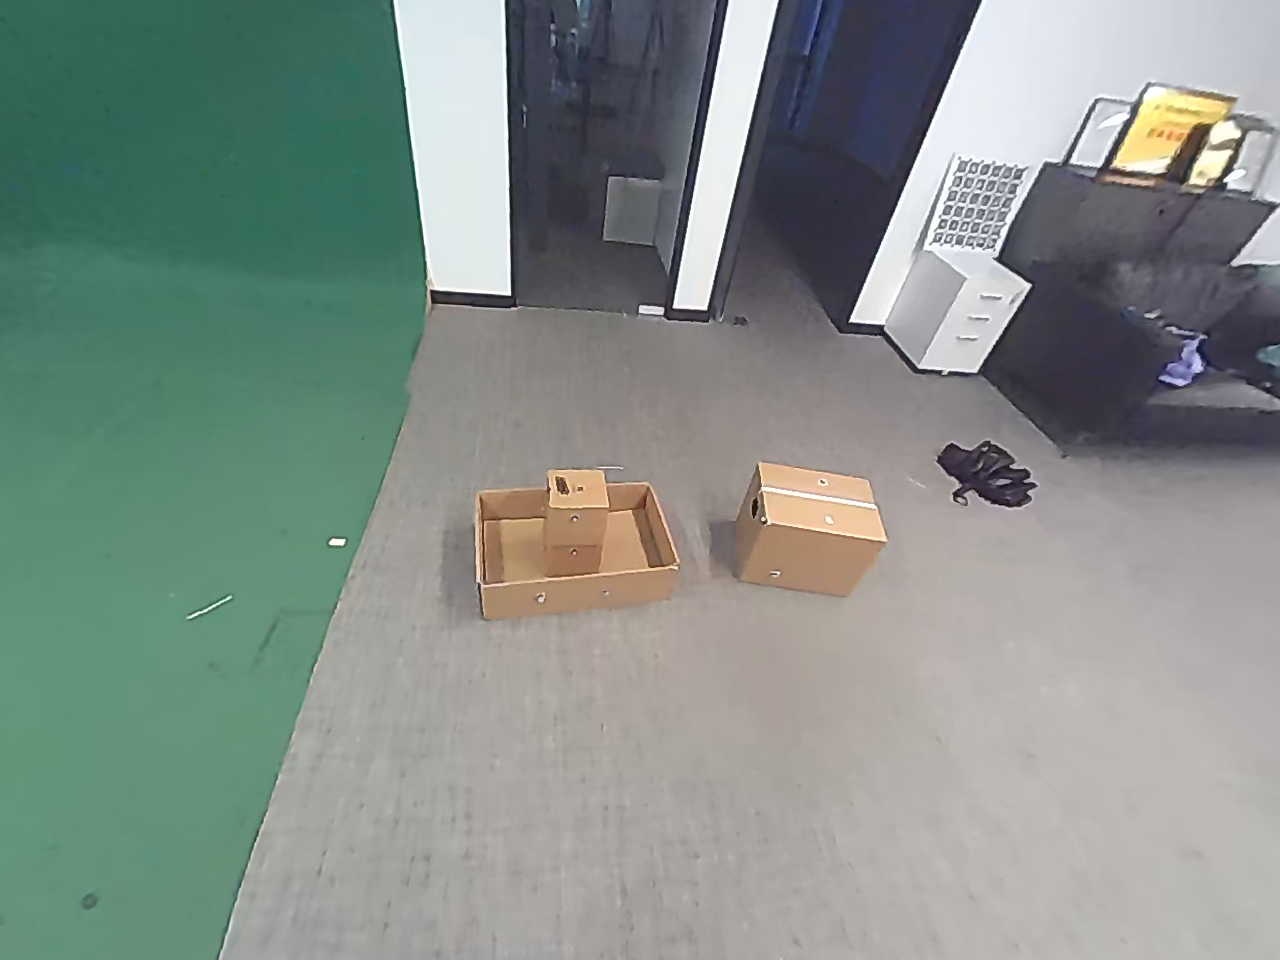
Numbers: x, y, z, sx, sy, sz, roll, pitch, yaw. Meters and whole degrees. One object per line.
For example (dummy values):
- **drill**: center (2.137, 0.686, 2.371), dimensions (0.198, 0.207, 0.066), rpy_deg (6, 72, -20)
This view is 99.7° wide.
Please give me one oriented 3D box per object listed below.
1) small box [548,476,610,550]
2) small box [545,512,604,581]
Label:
- **small box**: center (-0.196, 0.104, 1.671), dimensions (0.179, 0.176, 0.168), rpy_deg (1, 42, -13)
- **small box**: center (-0.222, 0.218, 1.788), dimensions (0.179, 0.176, 0.168), rpy_deg (-1, 43, -15)
